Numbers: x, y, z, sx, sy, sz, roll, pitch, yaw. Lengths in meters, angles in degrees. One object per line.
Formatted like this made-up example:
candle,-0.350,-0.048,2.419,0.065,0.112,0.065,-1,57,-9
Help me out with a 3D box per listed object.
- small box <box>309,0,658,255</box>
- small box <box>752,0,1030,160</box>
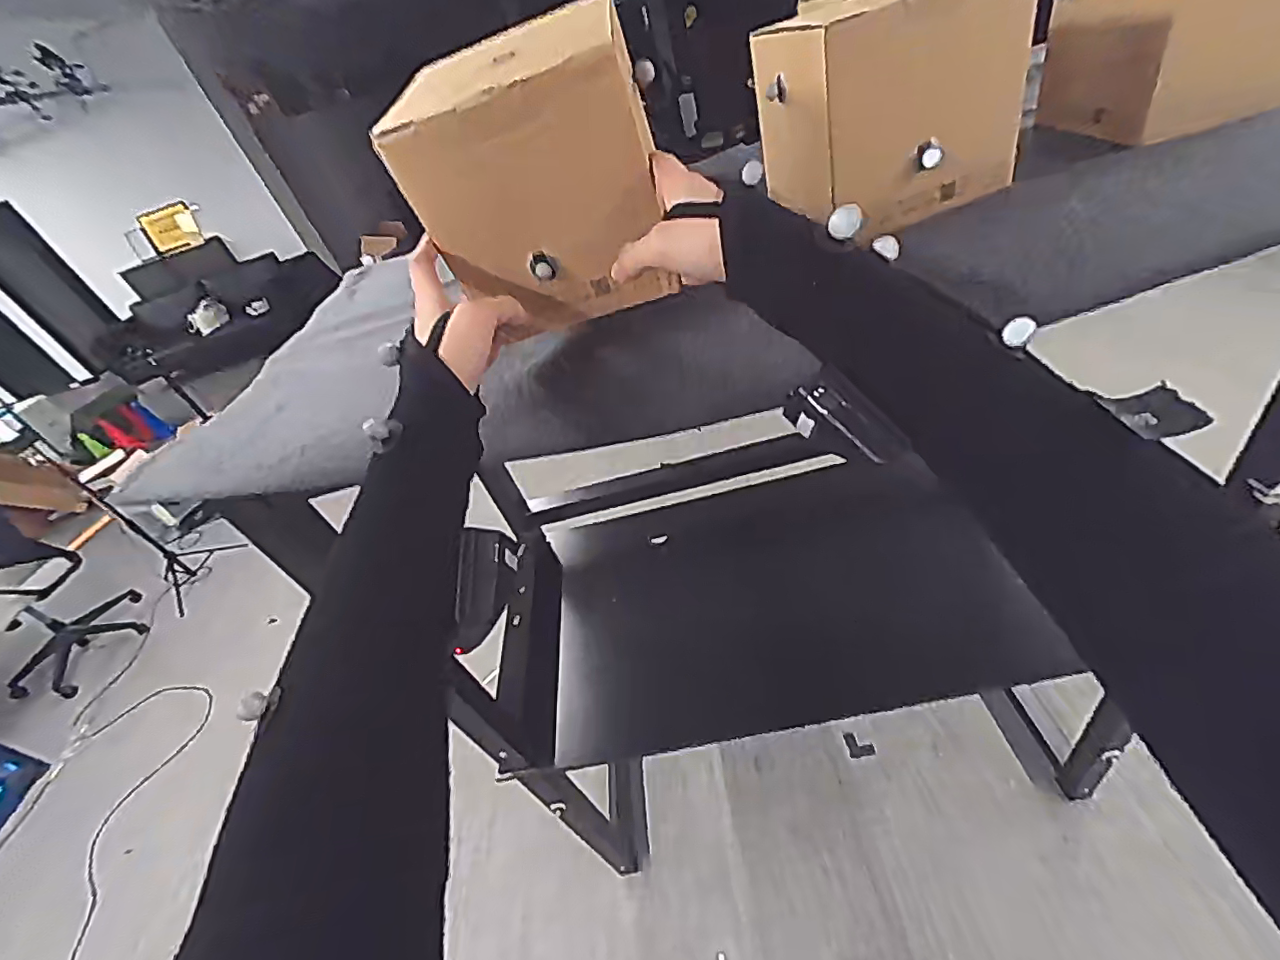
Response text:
small box,-0.090,-0.297,0.393,0.168,0.176,0.179,-14,50,11
small box,0.201,-0.399,0.467,0.168,0.176,0.179,-18,40,2
